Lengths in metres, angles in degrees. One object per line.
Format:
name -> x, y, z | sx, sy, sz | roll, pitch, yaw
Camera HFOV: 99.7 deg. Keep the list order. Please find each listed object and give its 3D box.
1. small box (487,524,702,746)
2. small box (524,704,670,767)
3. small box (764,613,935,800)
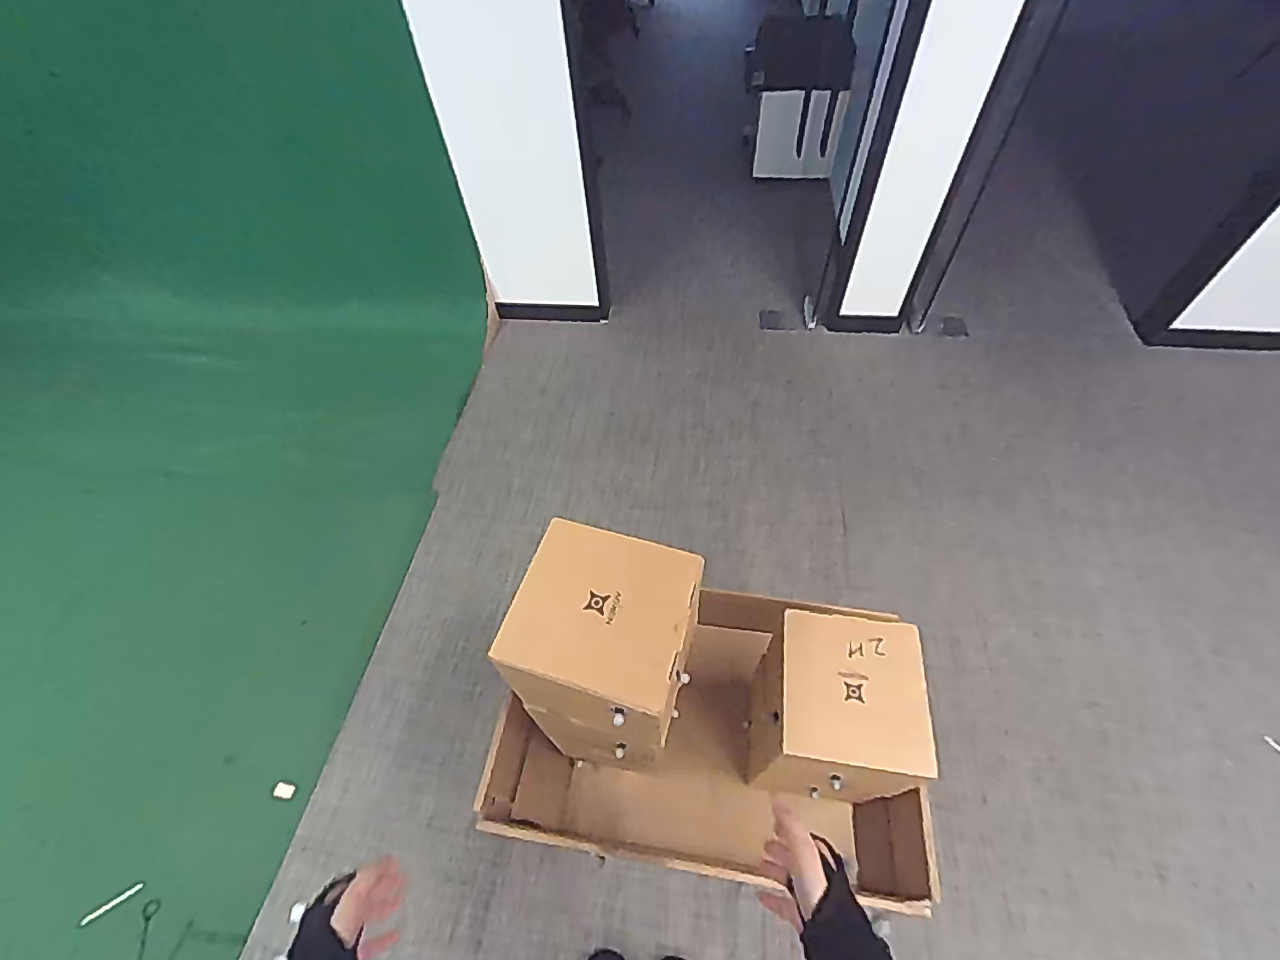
small box -> -0.039, 0.177, 0.606 | 0.179, 0.176, 0.168 | 14, 55, 11
small box -> -0.037, 0.270, 0.739 | 0.168, 0.176, 0.179 | 11, 54, 10
small box -> 0.255, 0.295, 0.697 | 0.168, 0.176, 0.179 | 7, 54, 8
